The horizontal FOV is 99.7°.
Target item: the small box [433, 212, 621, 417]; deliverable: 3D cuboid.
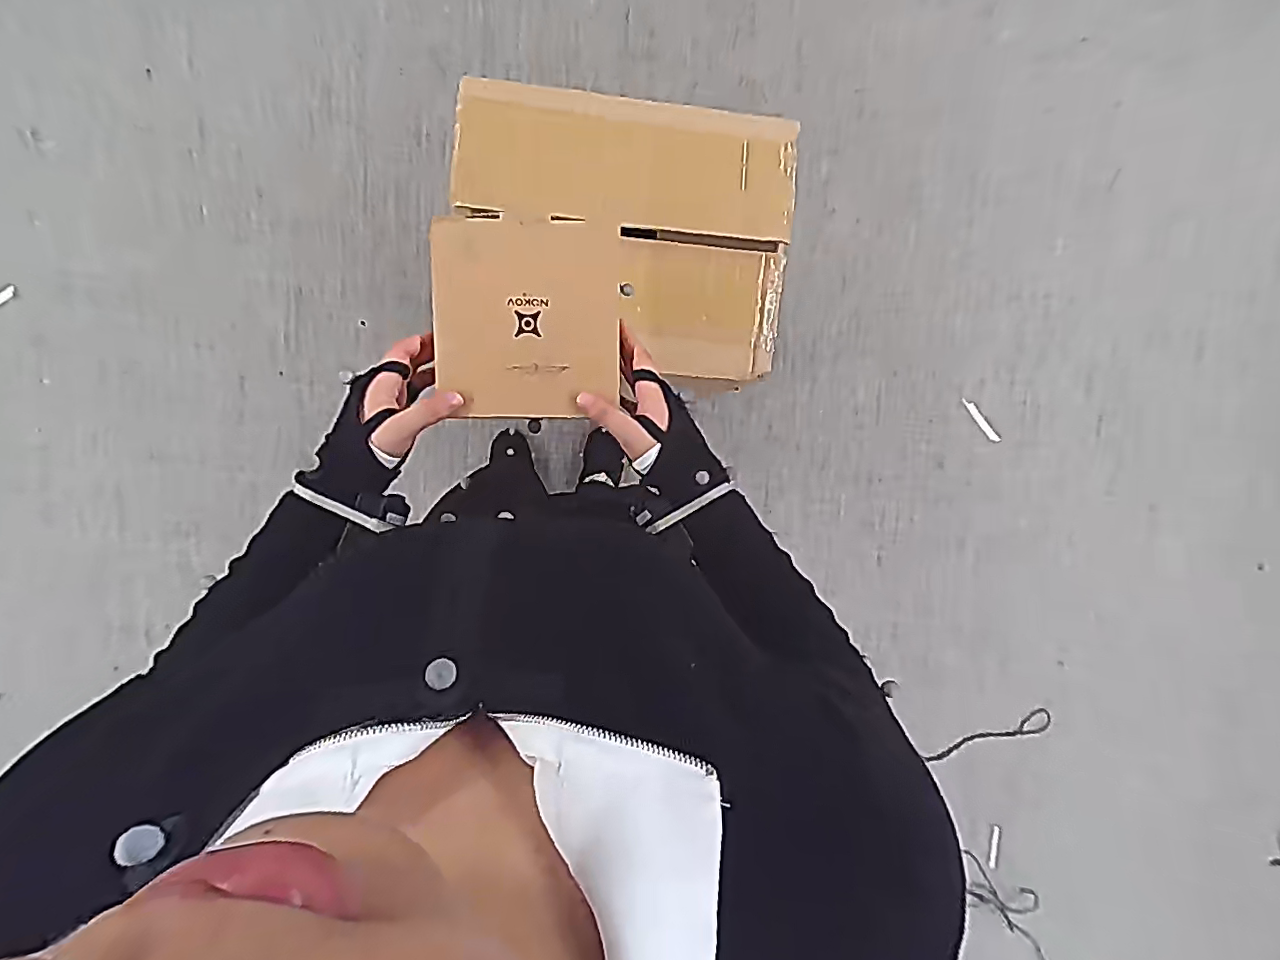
[{"bbox_3d":[-0.105,-0.156,0.562,0.168,0.176,0.179,-1,97,-3],"label":"small box"}]
